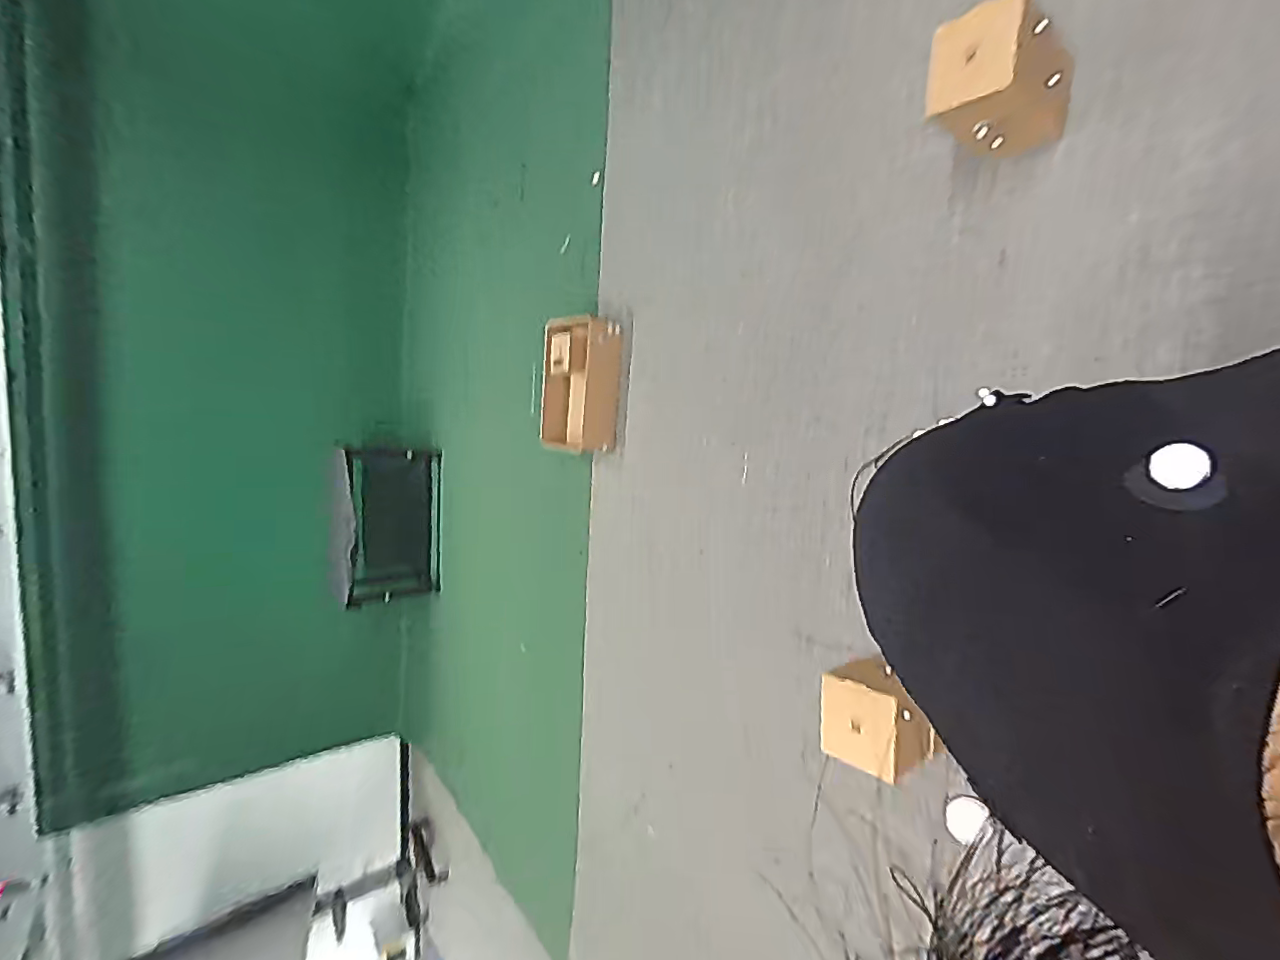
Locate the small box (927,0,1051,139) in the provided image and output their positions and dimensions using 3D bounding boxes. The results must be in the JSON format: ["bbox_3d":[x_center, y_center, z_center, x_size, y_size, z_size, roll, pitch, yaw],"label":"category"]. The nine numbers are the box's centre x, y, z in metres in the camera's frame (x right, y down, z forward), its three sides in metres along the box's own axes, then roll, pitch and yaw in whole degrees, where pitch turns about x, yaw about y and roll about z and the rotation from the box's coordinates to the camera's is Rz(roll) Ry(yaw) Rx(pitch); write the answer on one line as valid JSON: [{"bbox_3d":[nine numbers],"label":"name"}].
[{"bbox_3d":[0.730,-0.857,1.128,0.168,0.176,0.179,12,101,52],"label":"small box"}]

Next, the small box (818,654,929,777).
[{"bbox_3d":[0.508,0.499,1.173,0.168,0.176,0.179,2,92,51],"label":"small box"}]

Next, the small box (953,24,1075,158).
[{"bbox_3d":[0.853,-0.869,1.234,0.179,0.176,0.168,12,100,51],"label":"small box"}]

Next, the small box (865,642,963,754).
[{"bbox_3d":[0.638,0.501,1.271,0.168,0.176,0.179,4,93,50],"label":"small box"}]
